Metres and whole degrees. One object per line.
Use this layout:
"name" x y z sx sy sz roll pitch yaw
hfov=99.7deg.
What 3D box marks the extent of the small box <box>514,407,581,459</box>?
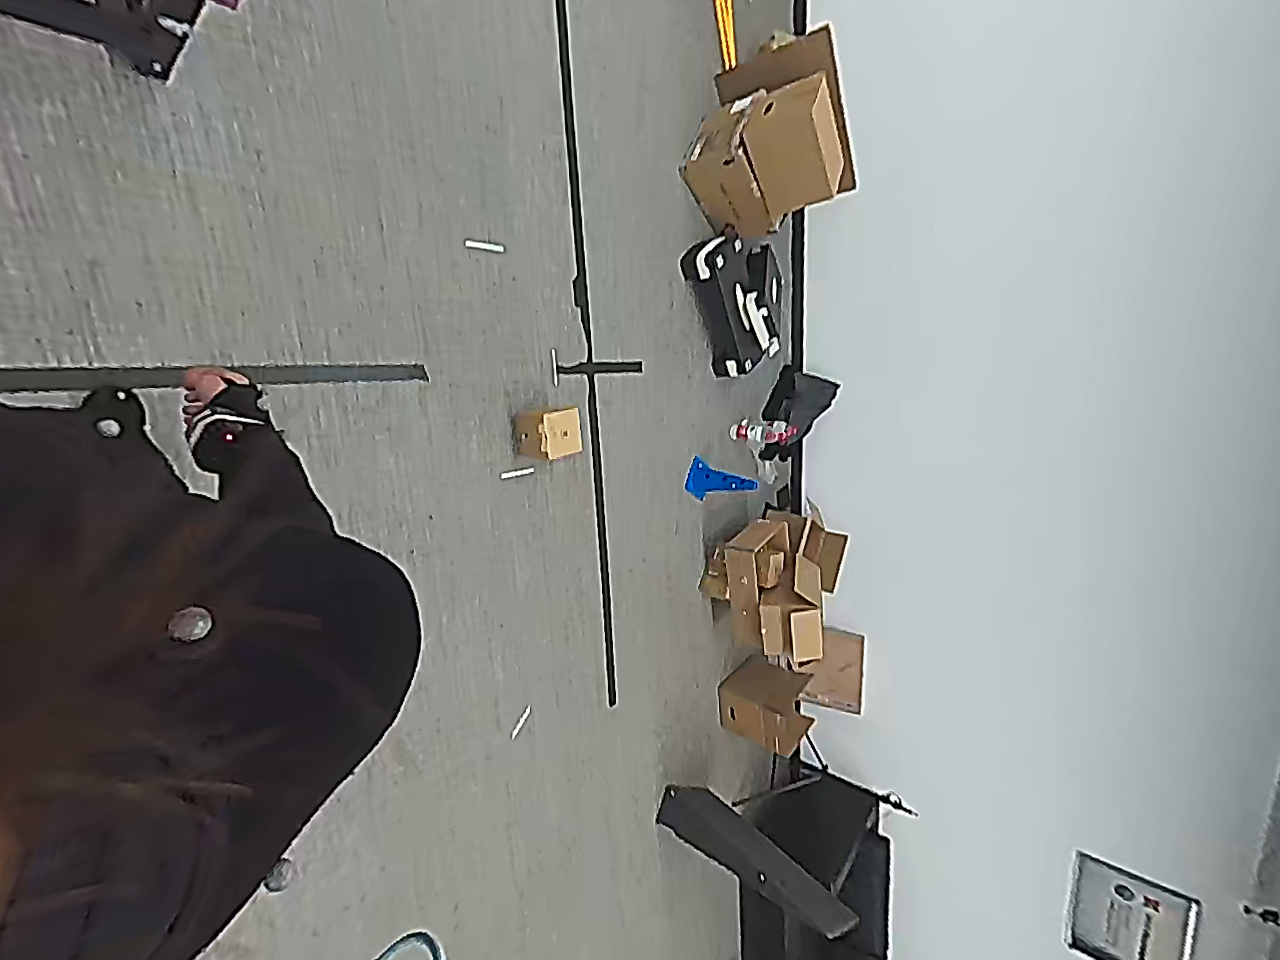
"small box" -0.346 -0.182 2.030 0.179 0.176 0.168 -20 111 -45
